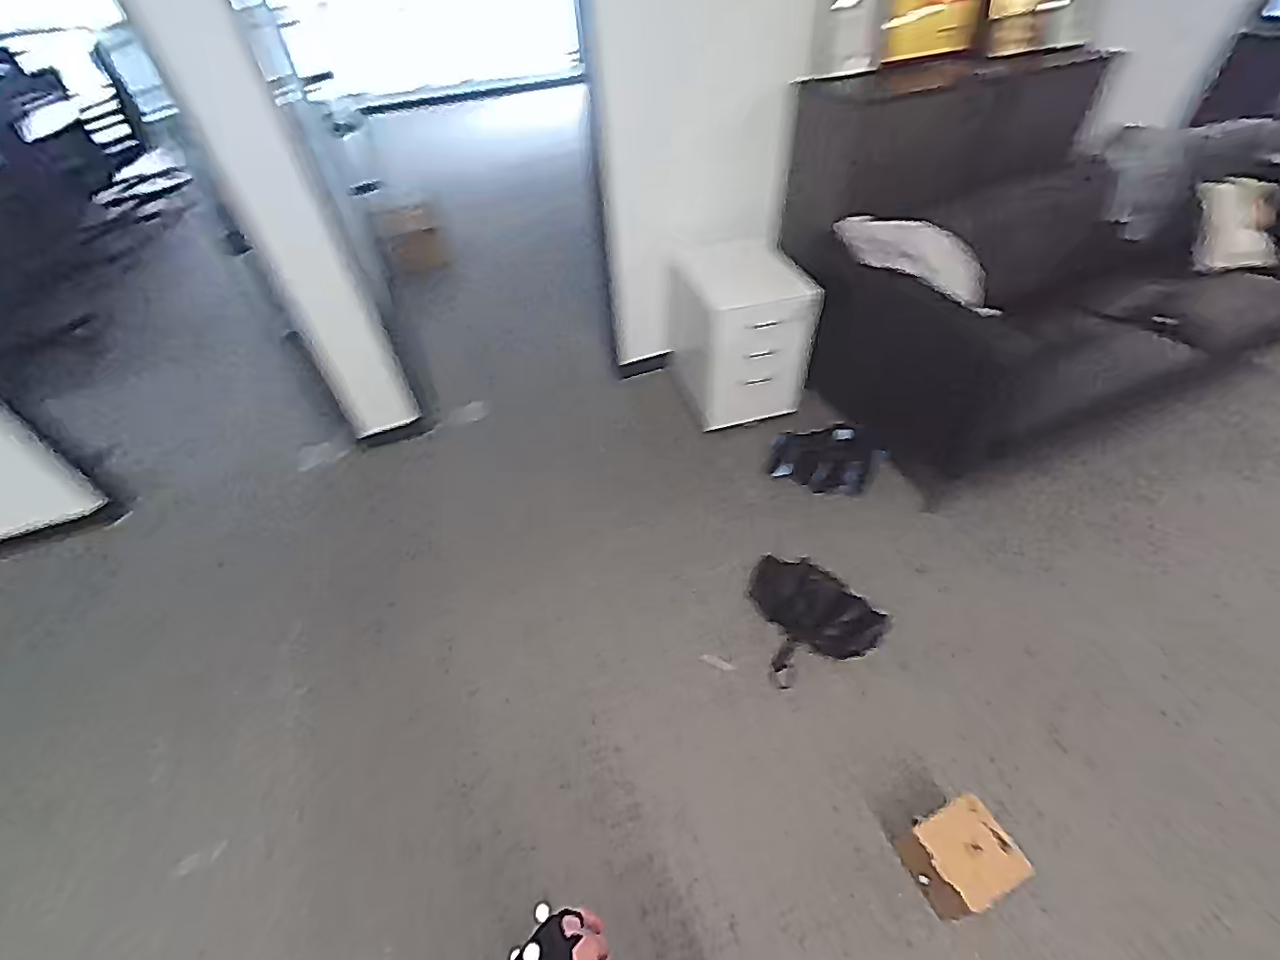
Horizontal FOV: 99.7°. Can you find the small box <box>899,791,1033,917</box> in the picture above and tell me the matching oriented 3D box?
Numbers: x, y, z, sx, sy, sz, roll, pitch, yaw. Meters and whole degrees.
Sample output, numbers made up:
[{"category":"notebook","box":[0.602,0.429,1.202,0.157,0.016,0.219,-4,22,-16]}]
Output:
[{"category":"small box","box":[0.705,0.831,1.197,0.179,0.176,0.168,-20,49,-13]}]
